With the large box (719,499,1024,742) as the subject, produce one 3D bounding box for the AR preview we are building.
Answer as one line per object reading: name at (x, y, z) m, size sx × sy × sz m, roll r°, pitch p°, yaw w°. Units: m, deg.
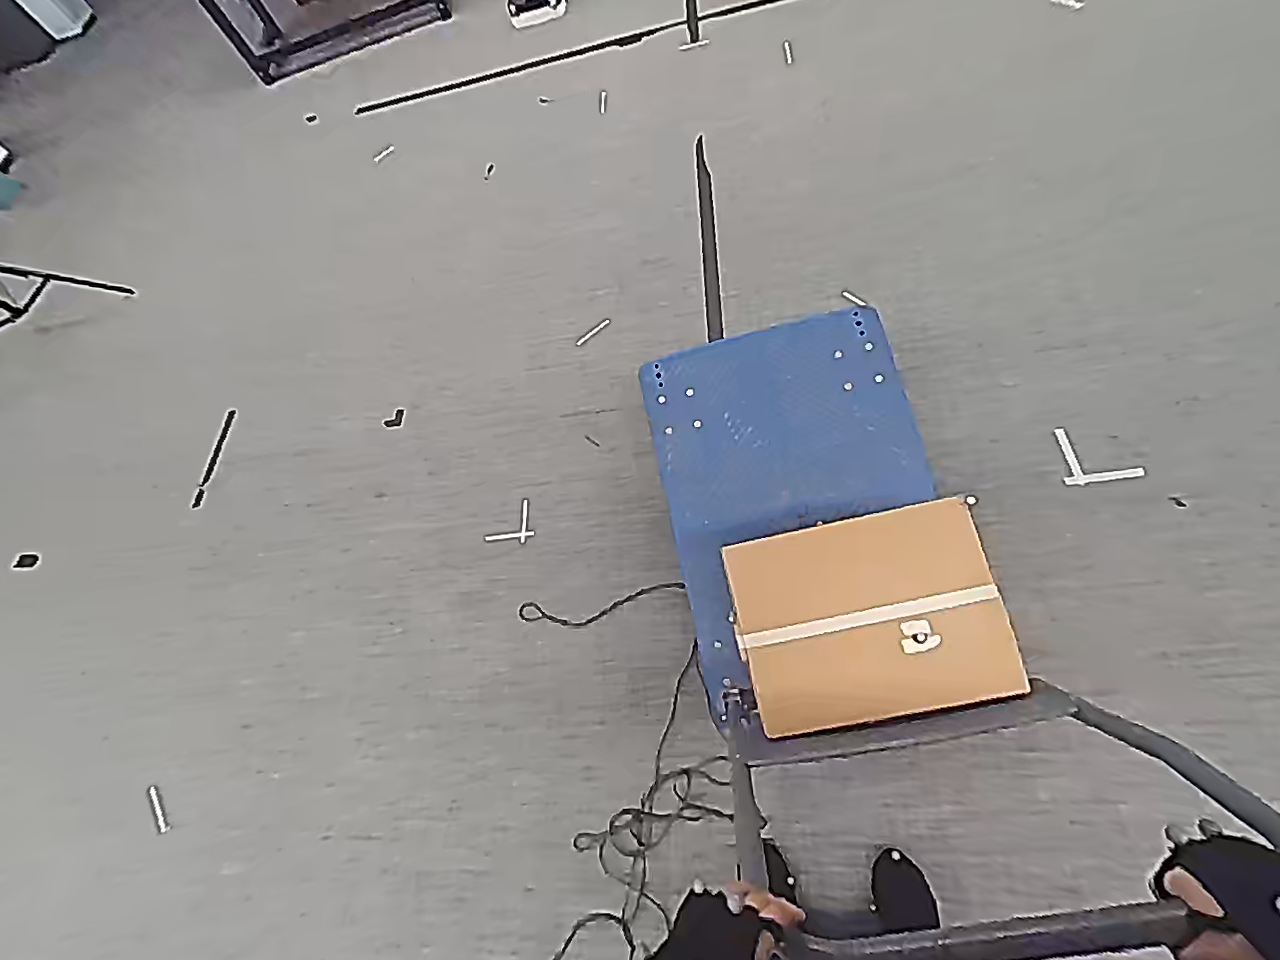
large box at (0.380, 0.252, 1.010) m, size 0.408 × 0.320 × 0.320 m, roll -13°, pitch 78°, yaw 6°
